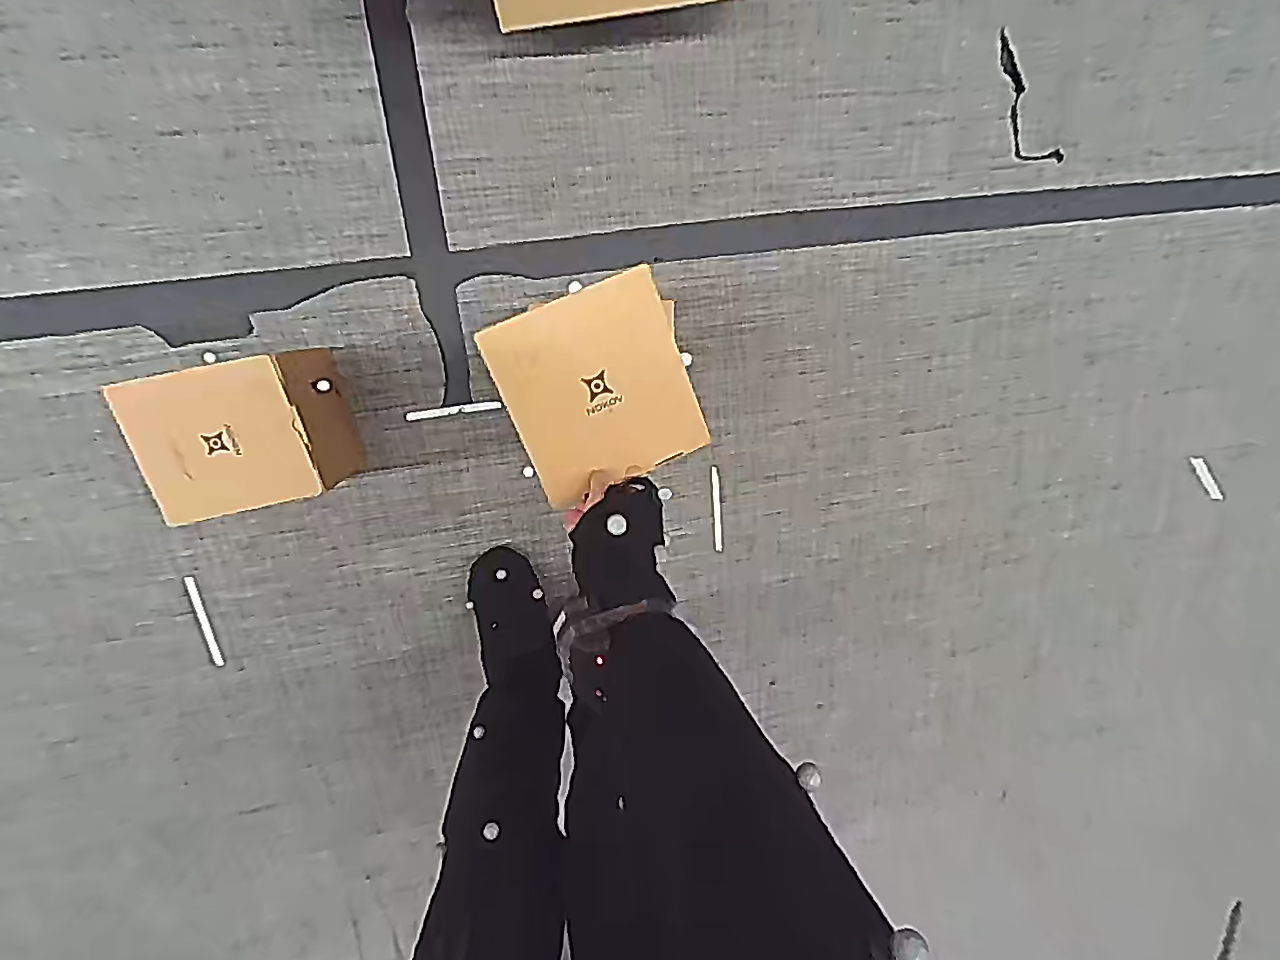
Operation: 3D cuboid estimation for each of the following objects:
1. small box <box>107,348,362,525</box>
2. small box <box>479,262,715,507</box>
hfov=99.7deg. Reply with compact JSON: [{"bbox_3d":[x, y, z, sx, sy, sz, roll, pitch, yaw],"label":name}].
[{"bbox_3d":[-0.472,-0.065,0.672,0.179,0.176,0.168,-14,107,-5],"label":"small box"},{"bbox_3d":[-0.047,-0.099,0.563,0.168,0.176,0.179,-25,106,-3],"label":"small box"}]
